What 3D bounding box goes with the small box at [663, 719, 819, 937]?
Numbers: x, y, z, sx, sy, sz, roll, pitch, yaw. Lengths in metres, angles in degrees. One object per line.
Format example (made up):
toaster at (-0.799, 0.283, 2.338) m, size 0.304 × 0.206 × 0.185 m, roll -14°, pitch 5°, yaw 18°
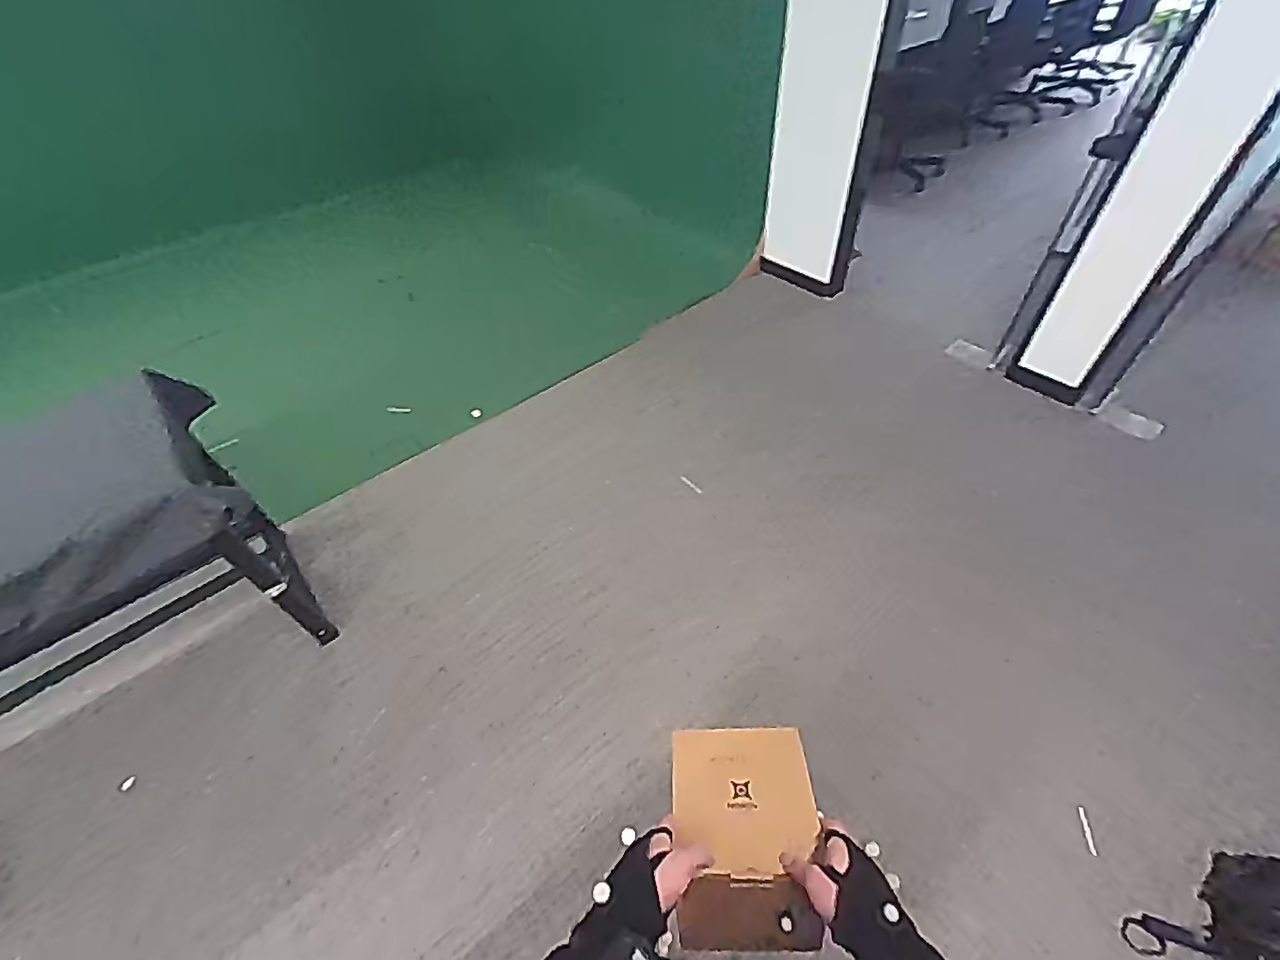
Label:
small box at (0.118, 0.429, 0.672) m, size 0.168 × 0.176 × 0.179 m, roll -4°, pitch 27°, yaw 4°
